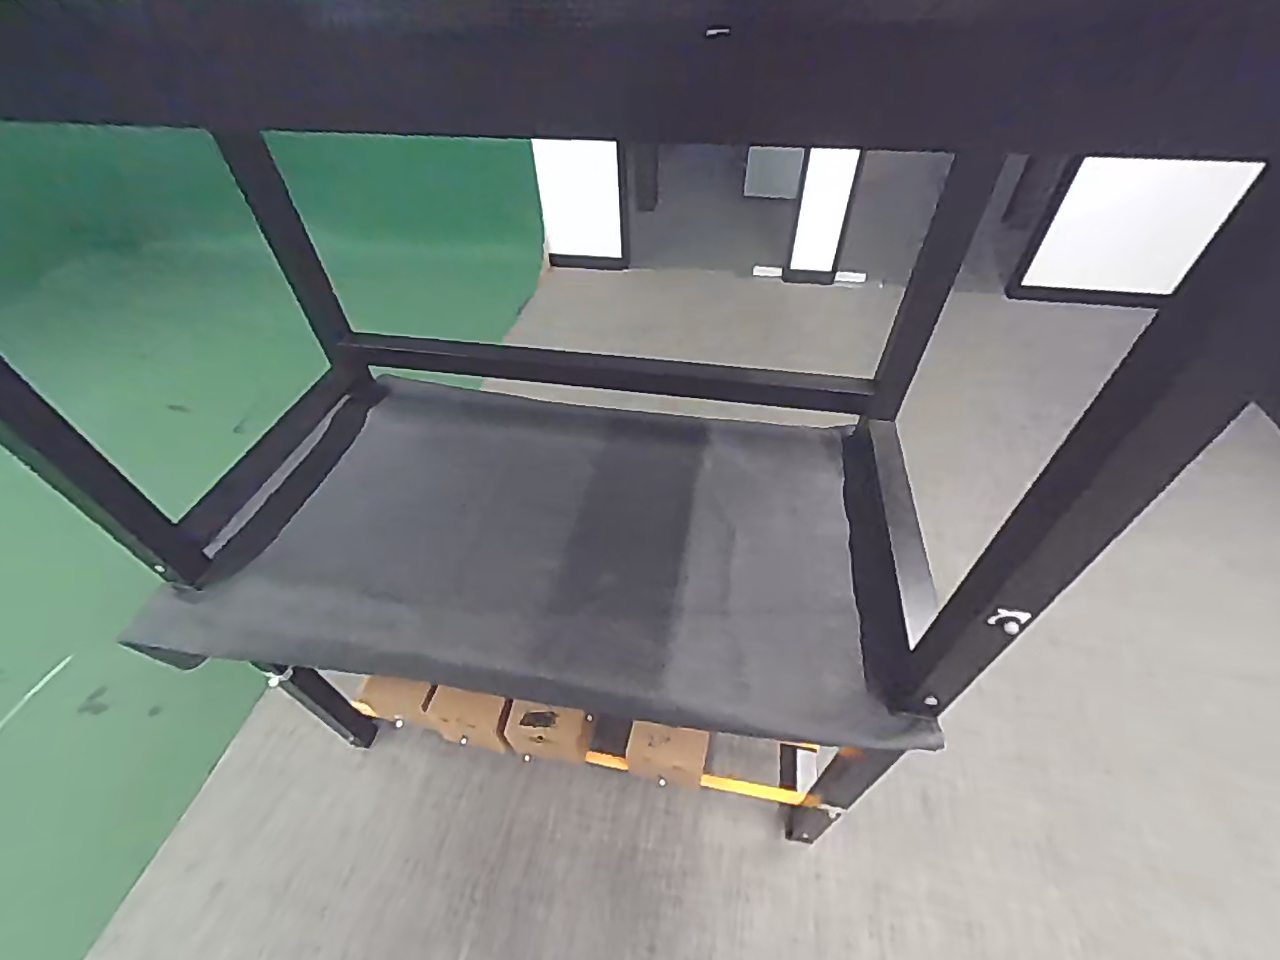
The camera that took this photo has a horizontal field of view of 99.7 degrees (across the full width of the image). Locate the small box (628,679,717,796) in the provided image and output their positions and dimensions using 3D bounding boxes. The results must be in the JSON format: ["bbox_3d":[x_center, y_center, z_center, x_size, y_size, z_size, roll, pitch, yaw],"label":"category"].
[{"bbox_3d":[0.075,0.592,1.241,0.168,0.176,0.179,10,49,13],"label":"small box"}]
